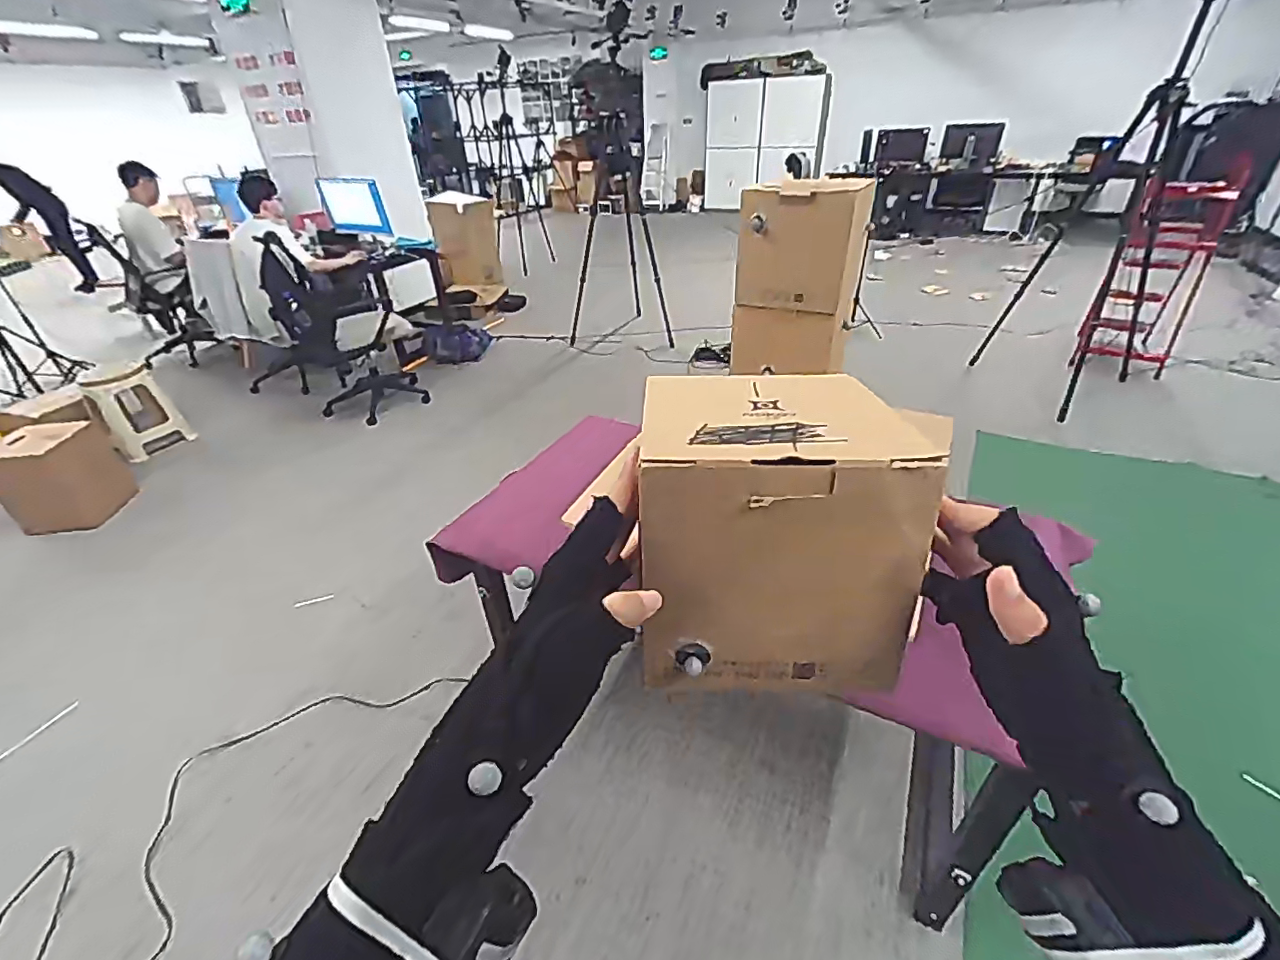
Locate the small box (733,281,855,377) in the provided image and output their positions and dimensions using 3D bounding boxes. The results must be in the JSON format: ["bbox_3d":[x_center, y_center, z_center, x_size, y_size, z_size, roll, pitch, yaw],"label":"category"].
[{"bbox_3d":[0.268,-0.241,0.960,0.168,0.176,0.179,14,37,24],"label":"small box"}]

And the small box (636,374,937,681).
[{"bbox_3d":[0.087,0.027,0.400,0.168,0.176,0.179,0,25,3],"label":"small box"}]
